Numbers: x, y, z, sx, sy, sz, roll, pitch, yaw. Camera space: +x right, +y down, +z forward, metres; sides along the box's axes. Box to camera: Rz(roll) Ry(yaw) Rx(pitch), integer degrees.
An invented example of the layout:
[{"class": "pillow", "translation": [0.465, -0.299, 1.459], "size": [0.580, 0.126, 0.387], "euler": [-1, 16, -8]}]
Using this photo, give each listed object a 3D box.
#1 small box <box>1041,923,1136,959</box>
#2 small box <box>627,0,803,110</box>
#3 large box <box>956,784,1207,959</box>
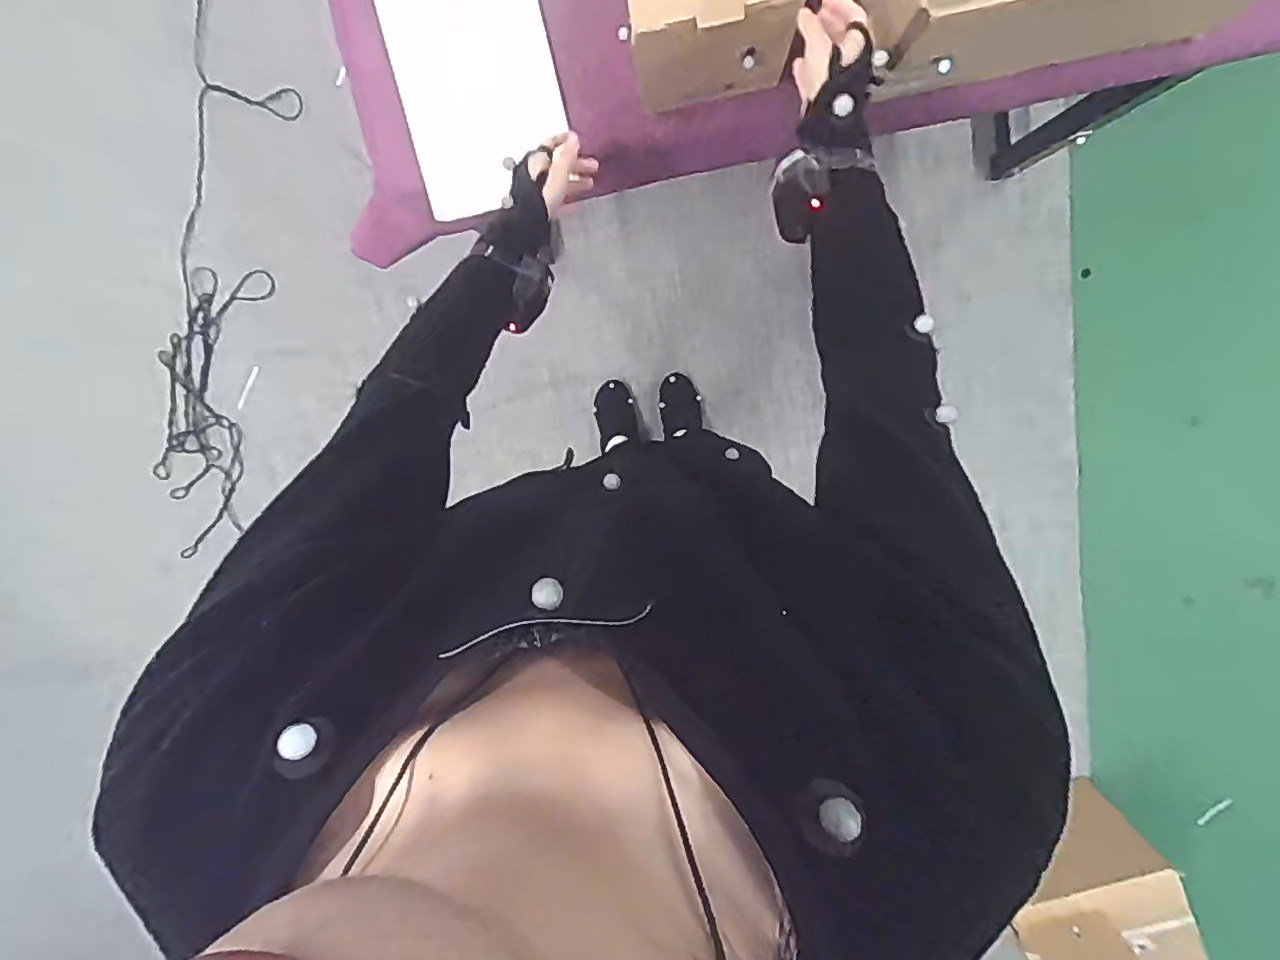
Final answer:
[{"class": "small box", "translation": [1.096, 1.209, 1.284], "size": [0.179, 0.176, 0.168], "euler": [-19, 100, 9]}, {"class": "small box", "translation": [0.068, -0.526, 0.572], "size": [0.168, 0.176, 0.179], "euler": [-8, 100, 6]}, {"class": "large box", "translation": [1.199, 1.142, 1.513], "size": [0.408, 0.320, 0.320], "euler": [-24, 100, 8]}]
